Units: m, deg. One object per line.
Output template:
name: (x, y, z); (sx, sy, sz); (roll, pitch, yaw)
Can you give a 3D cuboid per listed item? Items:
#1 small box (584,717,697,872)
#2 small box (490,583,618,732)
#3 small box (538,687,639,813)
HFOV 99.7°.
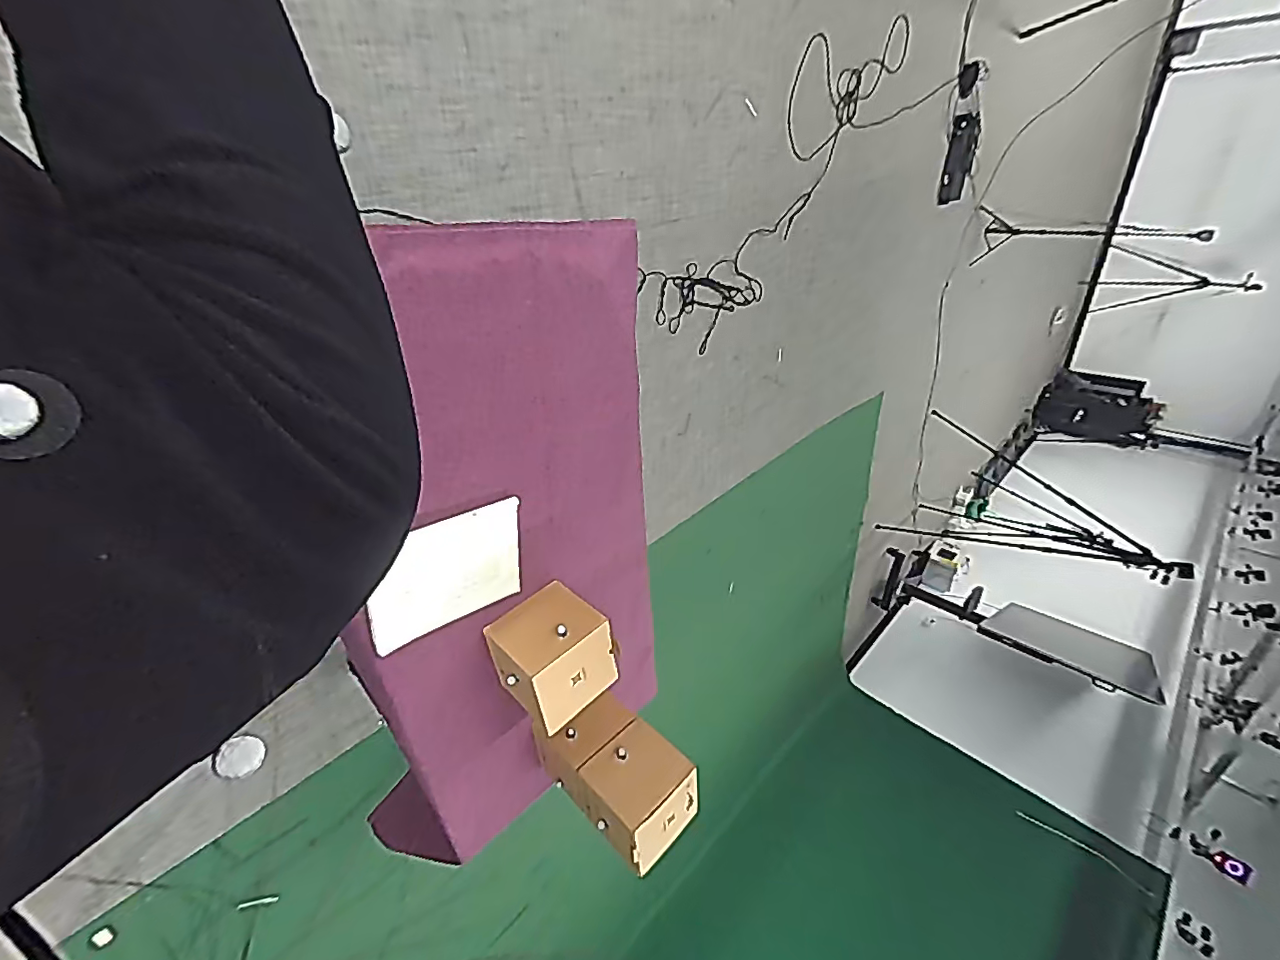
small box: (-0.001, 0.636, 1.113); (0.179, 0.176, 0.168); (-28, 128, -35)
small box: (-0.169, 0.331, 1.040); (0.179, 0.176, 0.168); (-32, 129, -35)
small box: (-0.115, 0.589, 1.222); (0.179, 0.176, 0.168); (-28, 128, -36)
